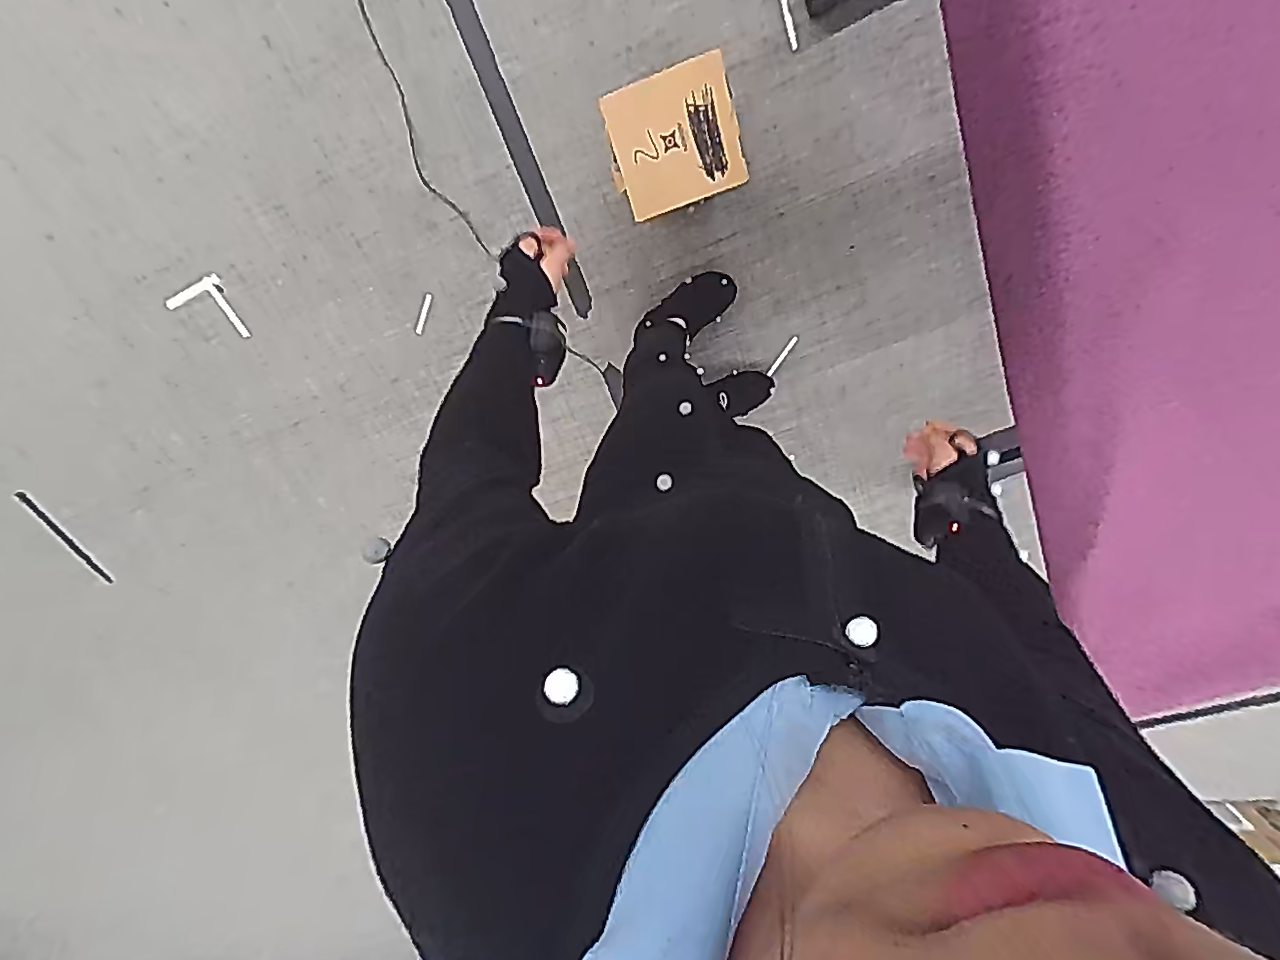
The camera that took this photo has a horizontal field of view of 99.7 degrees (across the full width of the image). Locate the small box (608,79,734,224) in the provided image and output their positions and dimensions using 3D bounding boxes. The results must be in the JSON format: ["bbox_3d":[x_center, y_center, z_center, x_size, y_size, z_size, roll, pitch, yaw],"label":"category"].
[{"bbox_3d":[0.055,-0.581,0.976,0.179,0.176,0.168,-18,114,11],"label":"small box"}]
